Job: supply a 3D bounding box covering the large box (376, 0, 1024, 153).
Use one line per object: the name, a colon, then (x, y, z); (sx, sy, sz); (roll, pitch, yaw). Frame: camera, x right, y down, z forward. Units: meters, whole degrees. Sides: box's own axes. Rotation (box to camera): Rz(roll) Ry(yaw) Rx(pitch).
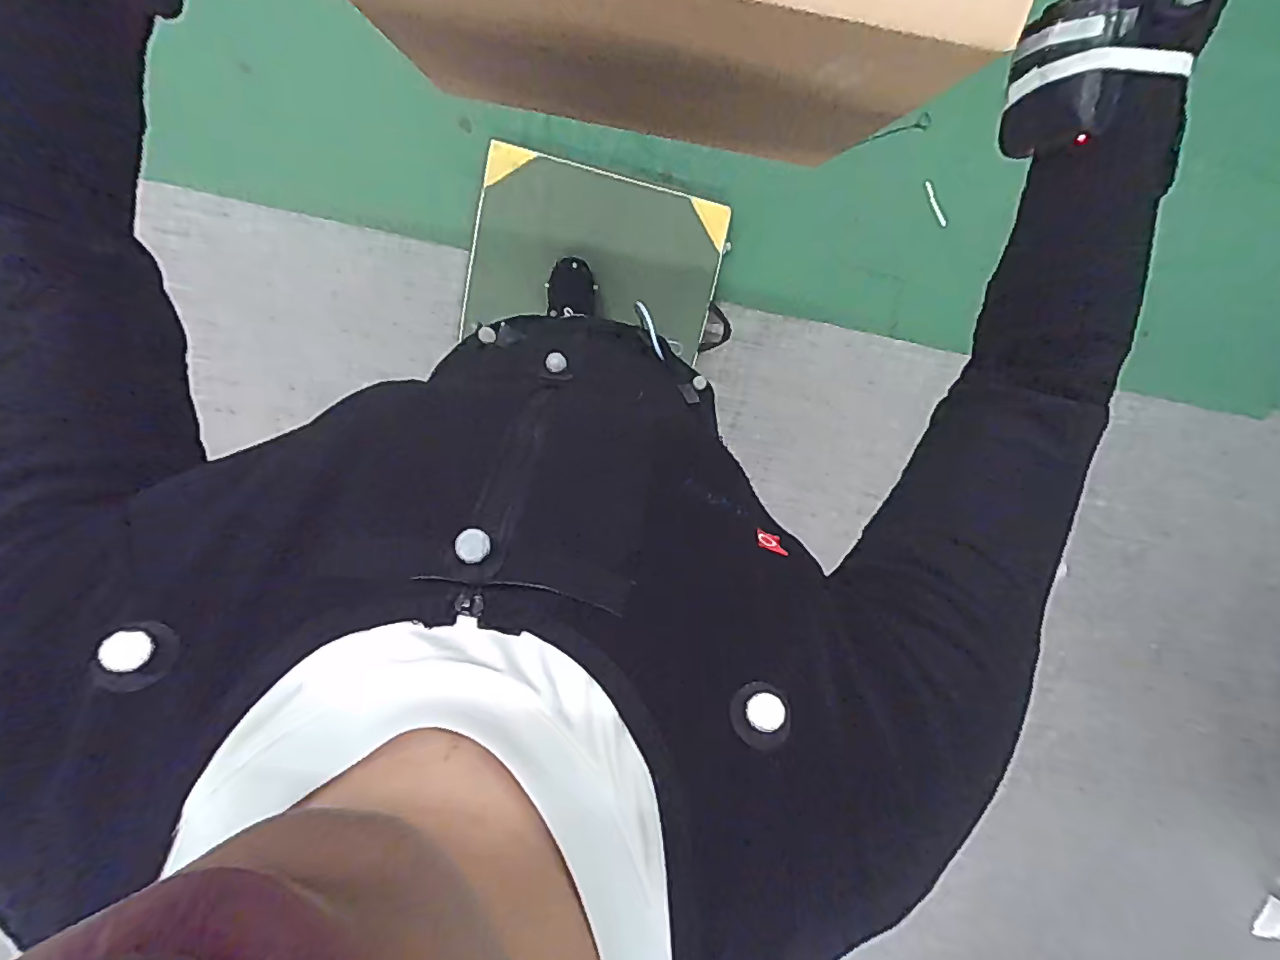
large box: (0.026, -0.462, 0.372); (0.408, 0.320, 0.320); (8, 110, -5)
